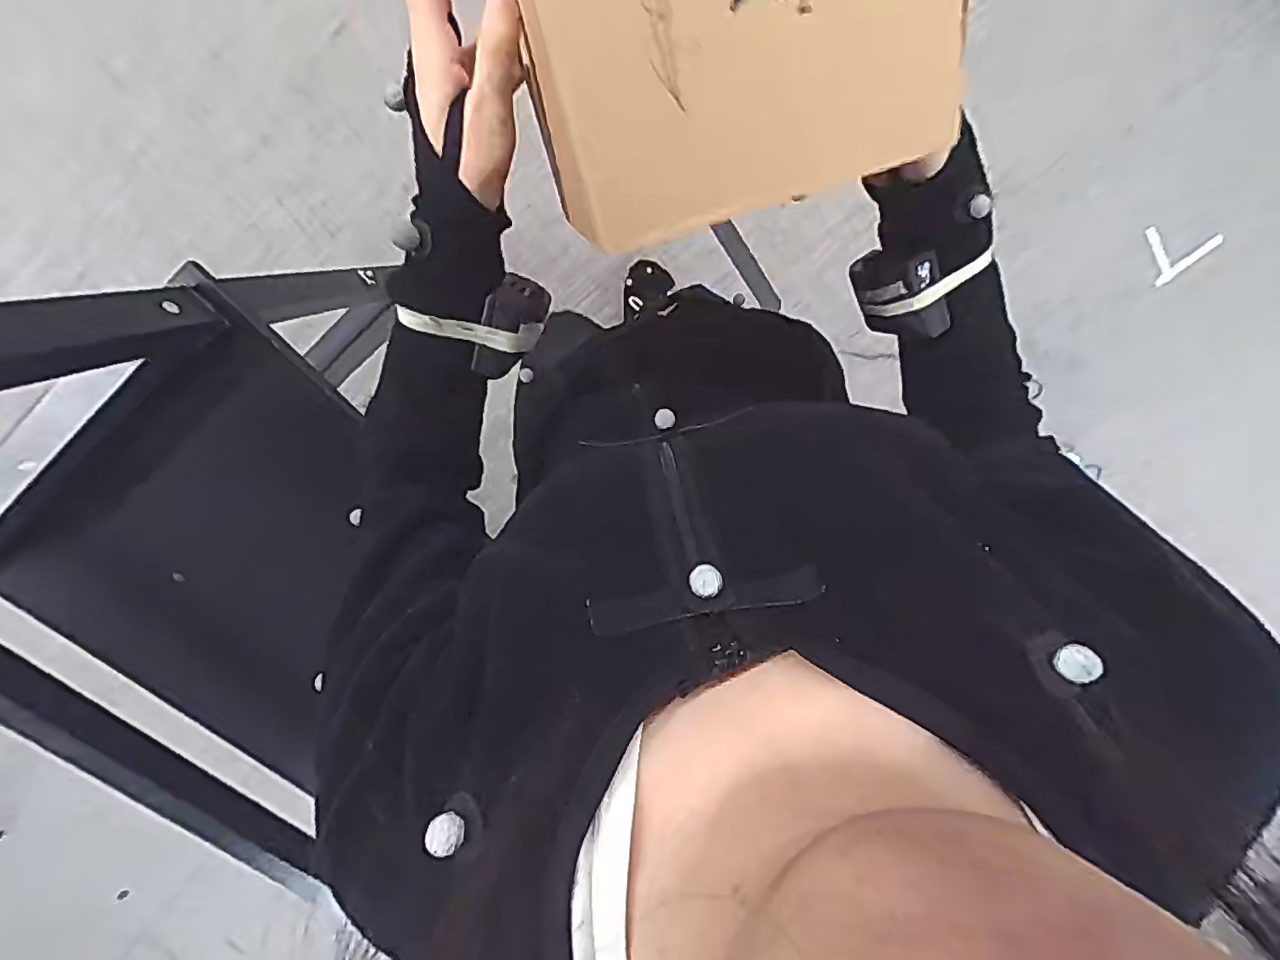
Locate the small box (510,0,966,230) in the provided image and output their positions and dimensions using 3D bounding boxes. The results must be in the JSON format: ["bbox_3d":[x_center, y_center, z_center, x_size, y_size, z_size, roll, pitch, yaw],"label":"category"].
[{"bbox_3d":[0.030,-0.242,0.269,0.179,0.176,0.168,-17,123,-3],"label":"small box"}]
